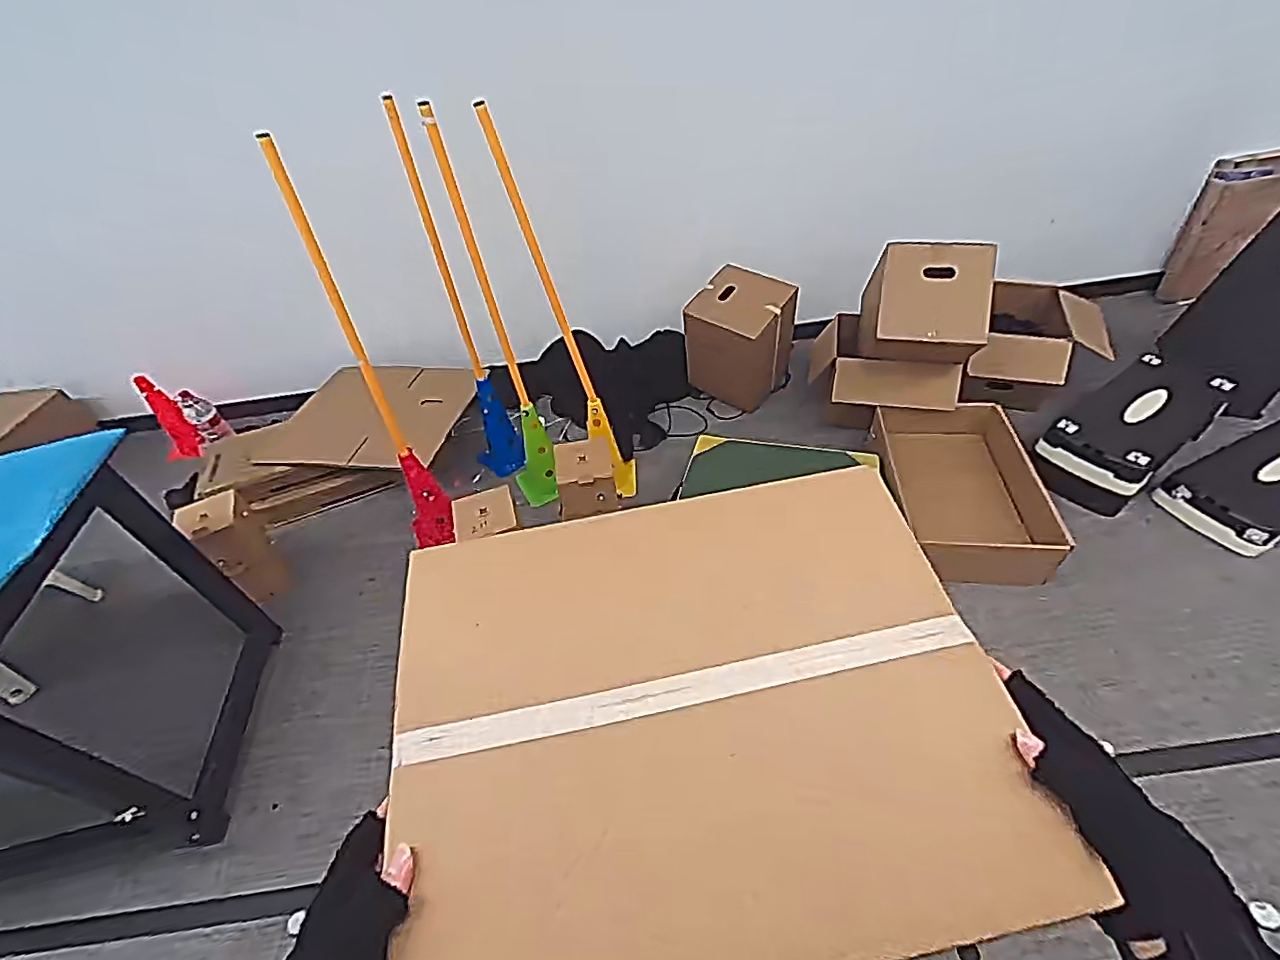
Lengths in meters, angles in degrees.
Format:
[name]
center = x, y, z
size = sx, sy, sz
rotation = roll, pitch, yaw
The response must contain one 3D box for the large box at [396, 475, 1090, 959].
[large box]
center = 0.047, 0.240, 0.499
size = 0.408, 0.320, 0.320
rotation = -11, 53, -3
